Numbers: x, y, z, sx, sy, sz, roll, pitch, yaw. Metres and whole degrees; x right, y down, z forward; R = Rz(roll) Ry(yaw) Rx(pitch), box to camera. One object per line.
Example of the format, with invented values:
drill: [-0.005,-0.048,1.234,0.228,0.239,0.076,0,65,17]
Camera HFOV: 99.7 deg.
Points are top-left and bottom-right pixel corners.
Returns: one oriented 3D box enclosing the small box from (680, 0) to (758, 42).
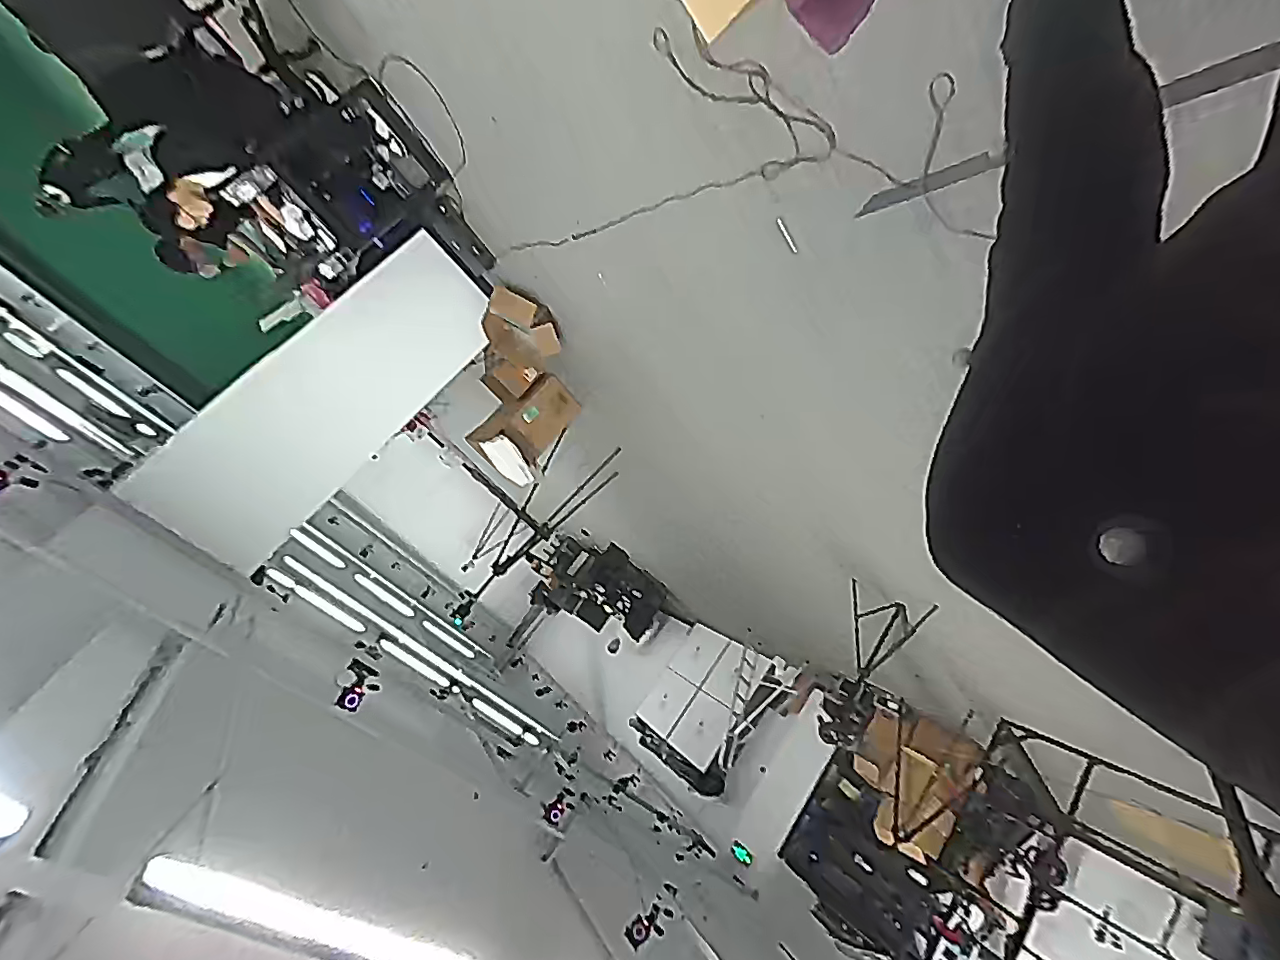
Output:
small box: [0.125,-0.670,0.615,0.168,0.176,0.179,46,160,-22]
